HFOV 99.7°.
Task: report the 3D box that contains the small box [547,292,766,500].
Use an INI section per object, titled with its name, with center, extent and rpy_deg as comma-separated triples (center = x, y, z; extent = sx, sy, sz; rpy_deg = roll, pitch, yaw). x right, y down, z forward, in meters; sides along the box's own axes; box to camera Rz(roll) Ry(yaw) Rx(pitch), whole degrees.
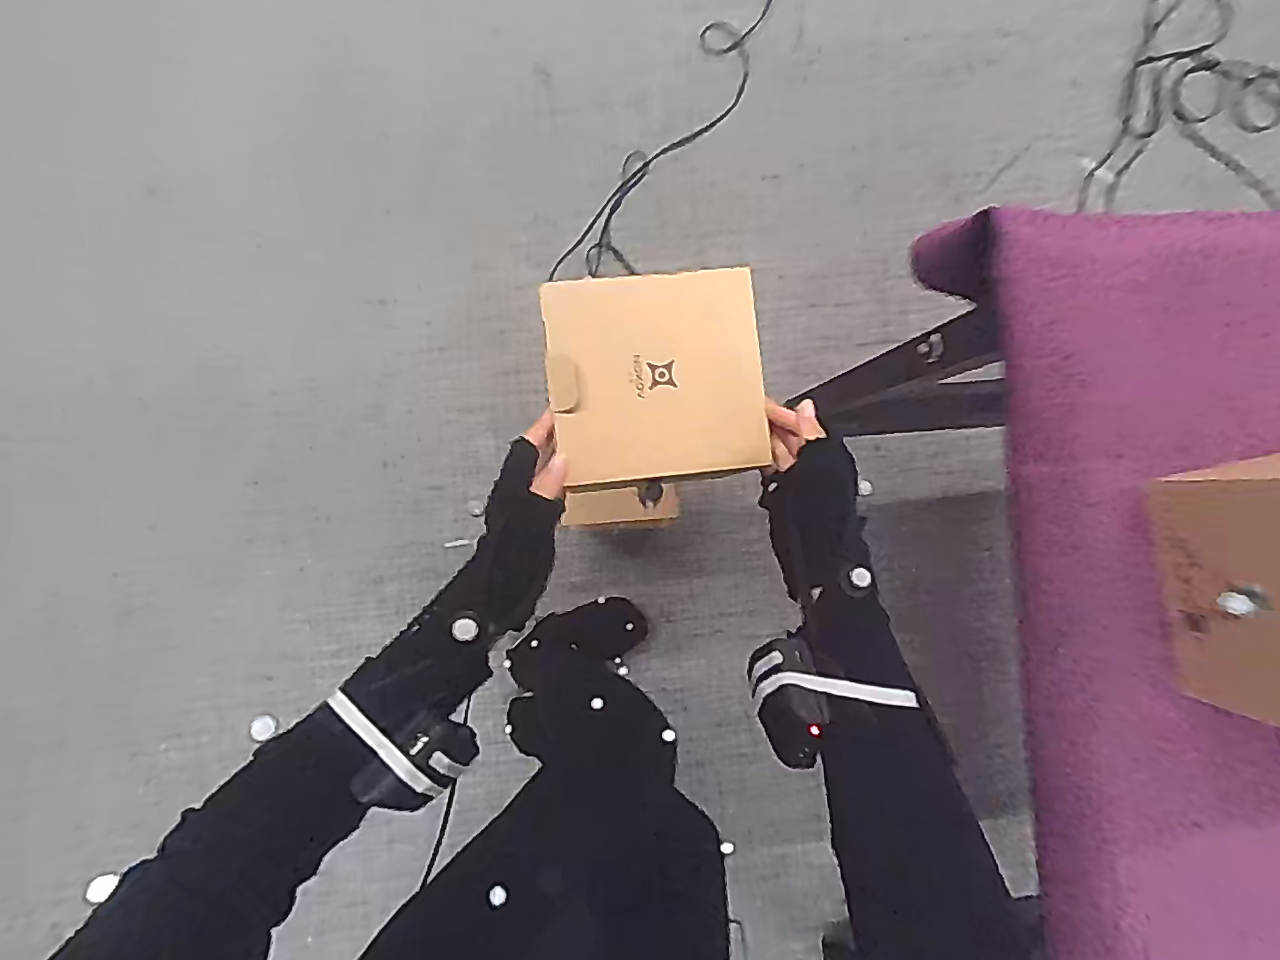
[small box]
center = 0.009, -0.070, 0.531
extent = 0.179, 0.176, 0.168
rpy_deg = -5, 88, -4
